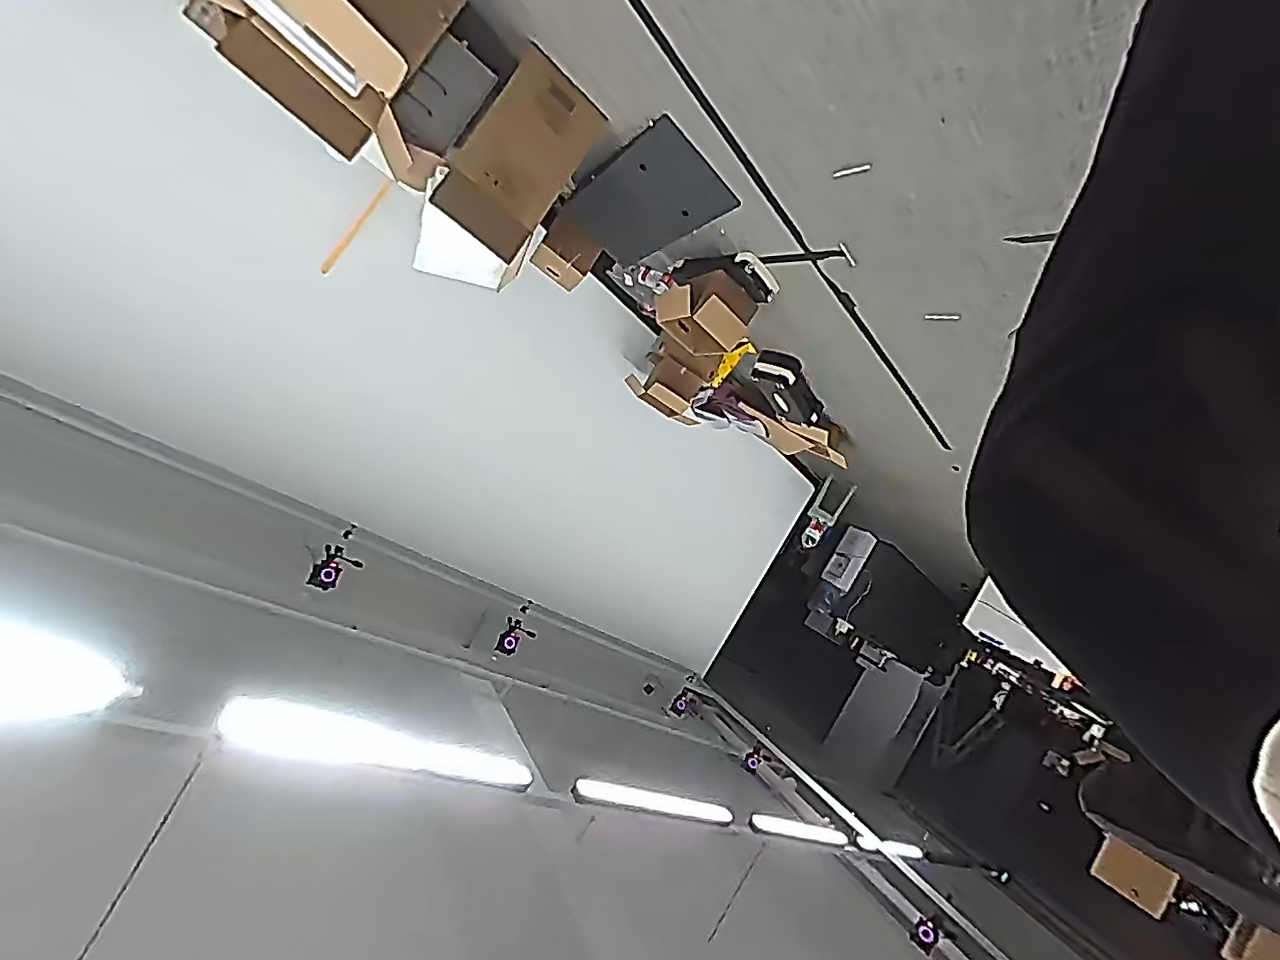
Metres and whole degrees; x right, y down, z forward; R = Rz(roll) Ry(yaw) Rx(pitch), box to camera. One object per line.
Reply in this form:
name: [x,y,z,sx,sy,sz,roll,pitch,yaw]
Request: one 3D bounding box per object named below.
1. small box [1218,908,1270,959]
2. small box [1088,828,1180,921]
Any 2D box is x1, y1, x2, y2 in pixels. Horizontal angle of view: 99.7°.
small box: [1.847,1.396,1.577,0.168,0.176,0.179,34,176,-37]
small box: [1.531,1.211,1.674,0.179,0.176,0.168,34,174,-39]
